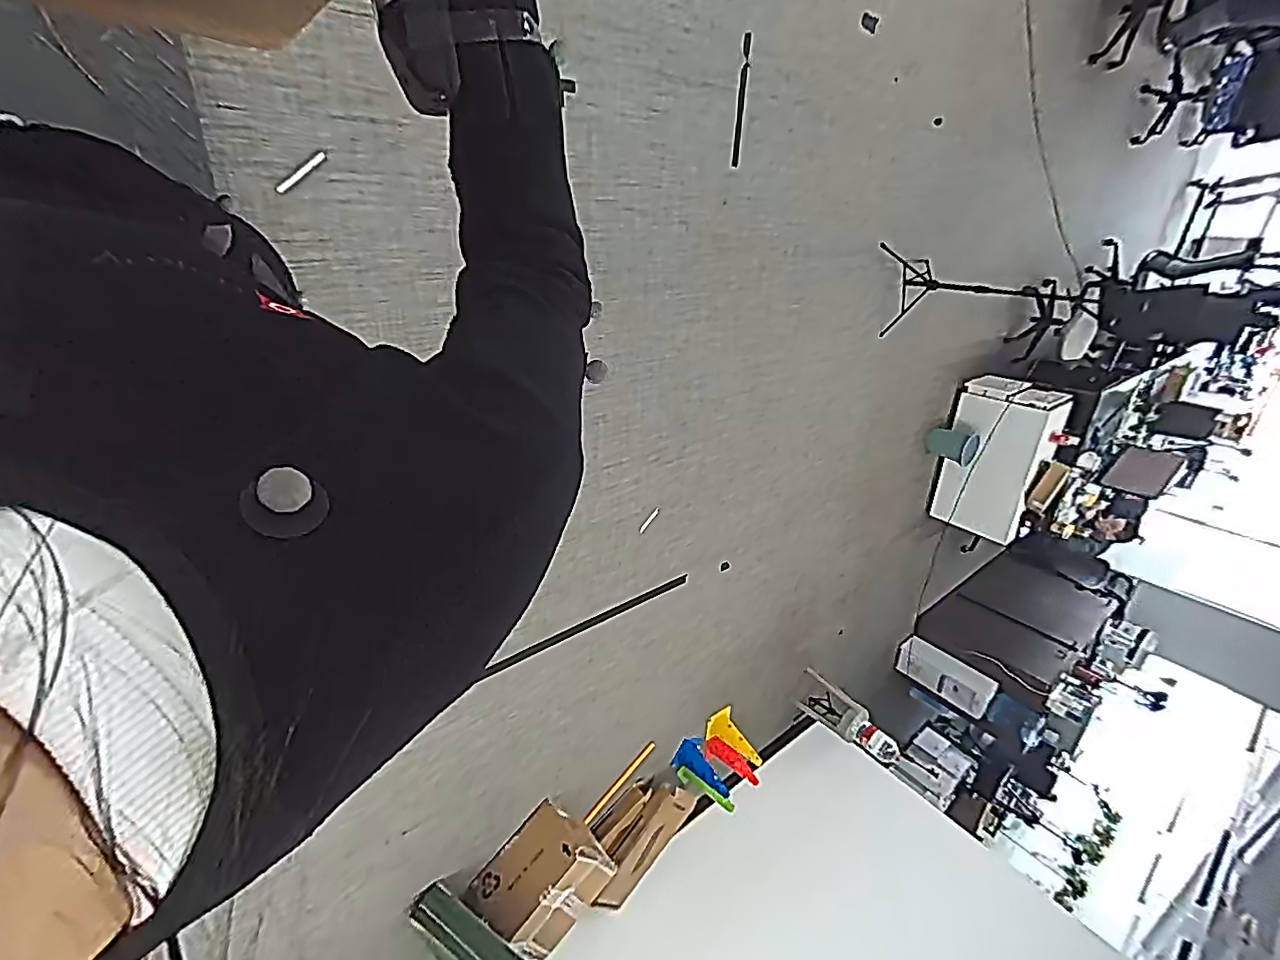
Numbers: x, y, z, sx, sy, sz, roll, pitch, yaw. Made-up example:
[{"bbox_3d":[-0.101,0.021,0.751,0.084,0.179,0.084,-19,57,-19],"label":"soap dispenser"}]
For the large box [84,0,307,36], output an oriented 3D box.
[{"bbox_3d":[-0.371,-0.418,0.192,0.408,0.320,0.320,-17,125,-36],"label":"large box"}]
